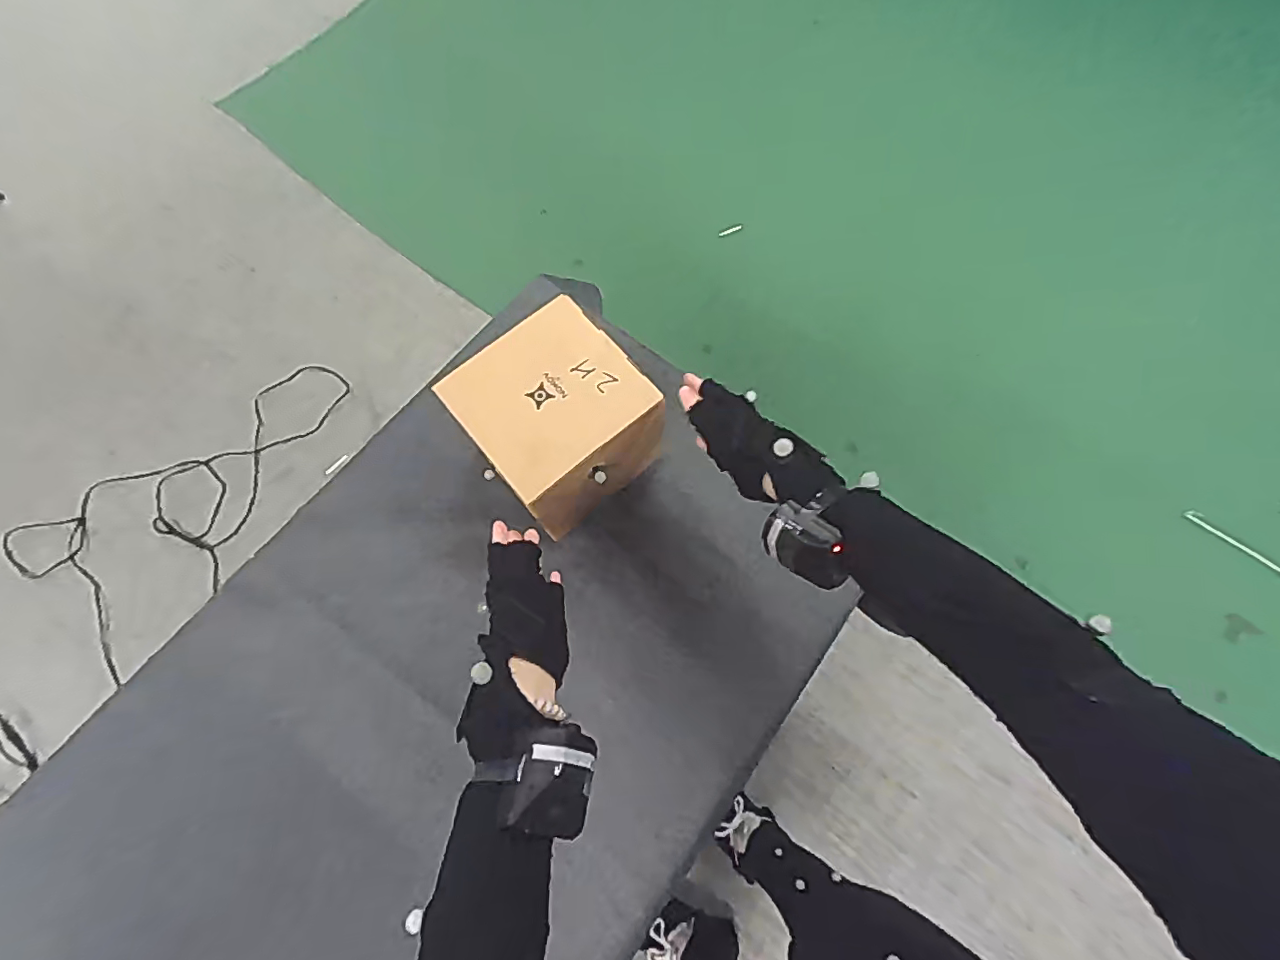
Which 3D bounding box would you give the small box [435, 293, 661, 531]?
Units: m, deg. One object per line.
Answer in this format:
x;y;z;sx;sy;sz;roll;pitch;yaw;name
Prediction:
-0.090;-0.065;0.616;0.179;0.176;0.168;-39;76;-11;small box
